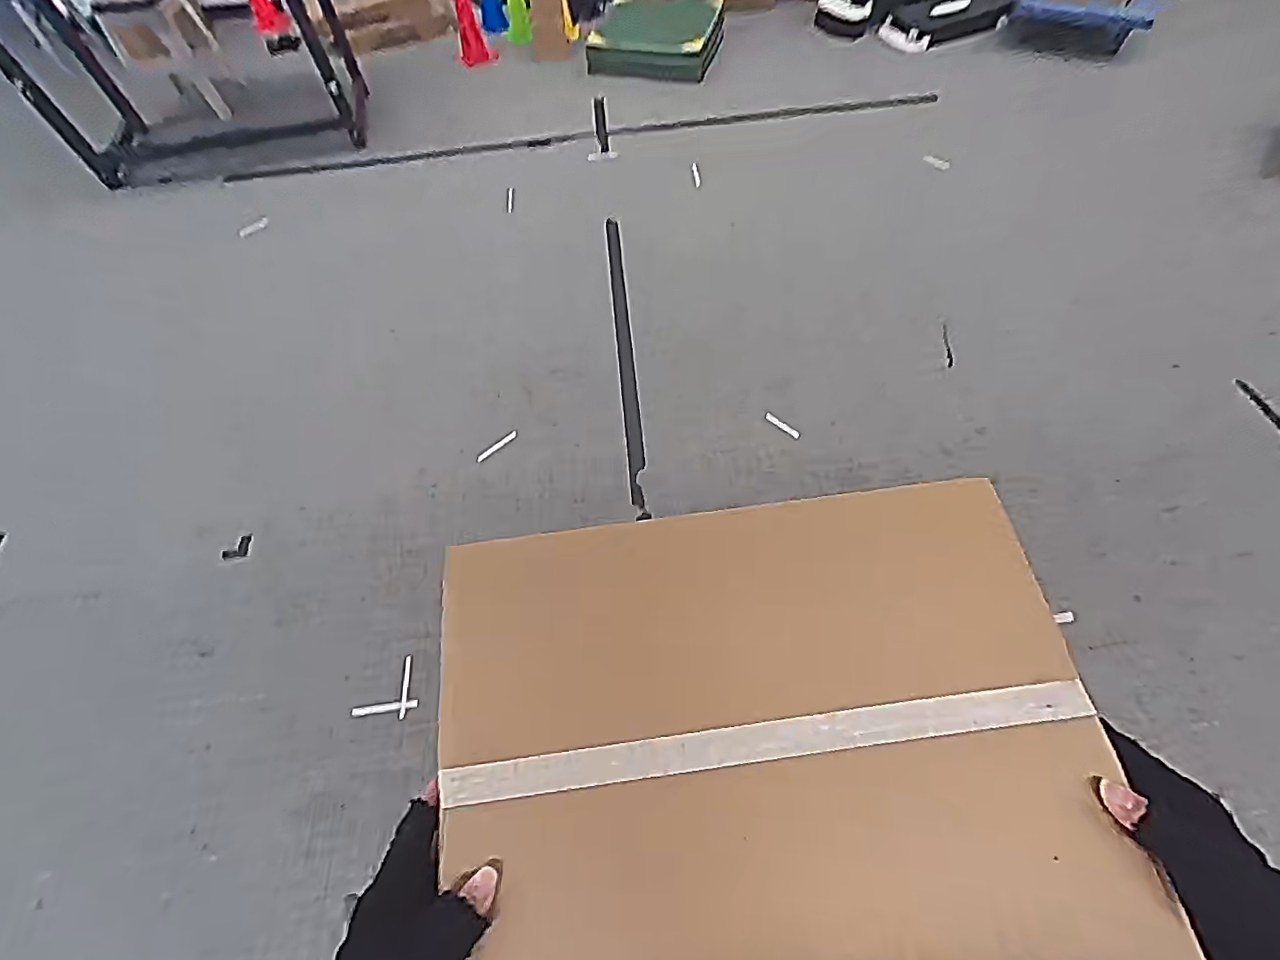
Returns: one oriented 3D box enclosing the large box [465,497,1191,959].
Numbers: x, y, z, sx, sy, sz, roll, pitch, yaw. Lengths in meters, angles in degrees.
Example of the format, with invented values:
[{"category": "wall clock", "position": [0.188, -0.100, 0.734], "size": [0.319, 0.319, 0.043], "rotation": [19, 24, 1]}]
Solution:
[{"category": "large box", "position": [0.091, 0.241, 0.478], "size": [0.408, 0.320, 0.320], "rotation": [-7, 65, -1]}]
